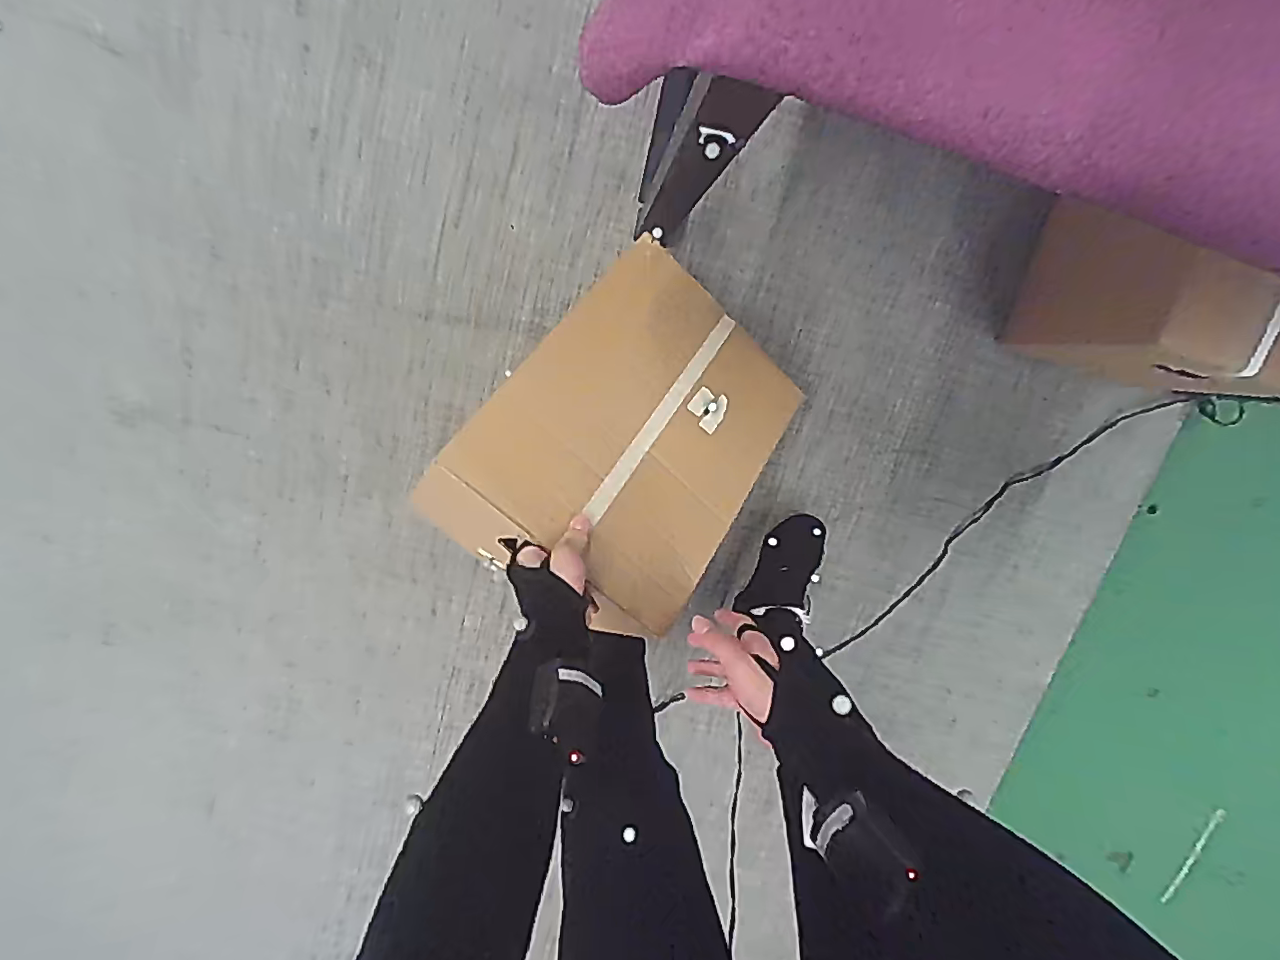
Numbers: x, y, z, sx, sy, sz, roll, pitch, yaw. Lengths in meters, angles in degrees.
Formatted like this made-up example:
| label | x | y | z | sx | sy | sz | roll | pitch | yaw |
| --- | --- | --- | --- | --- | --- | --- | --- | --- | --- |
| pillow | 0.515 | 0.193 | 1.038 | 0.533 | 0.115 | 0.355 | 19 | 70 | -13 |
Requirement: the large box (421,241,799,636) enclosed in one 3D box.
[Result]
| label | x | y | z | sx | sy | sz | roll | pitch | yaw |
| --- | --- | --- | --- | --- | --- | --- | --- | --- | --- |
| large box | -0.049 | -0.035 | 0.776 | 0.320 | 0.320 | 0.408 | 41 | 63 | -15 |
